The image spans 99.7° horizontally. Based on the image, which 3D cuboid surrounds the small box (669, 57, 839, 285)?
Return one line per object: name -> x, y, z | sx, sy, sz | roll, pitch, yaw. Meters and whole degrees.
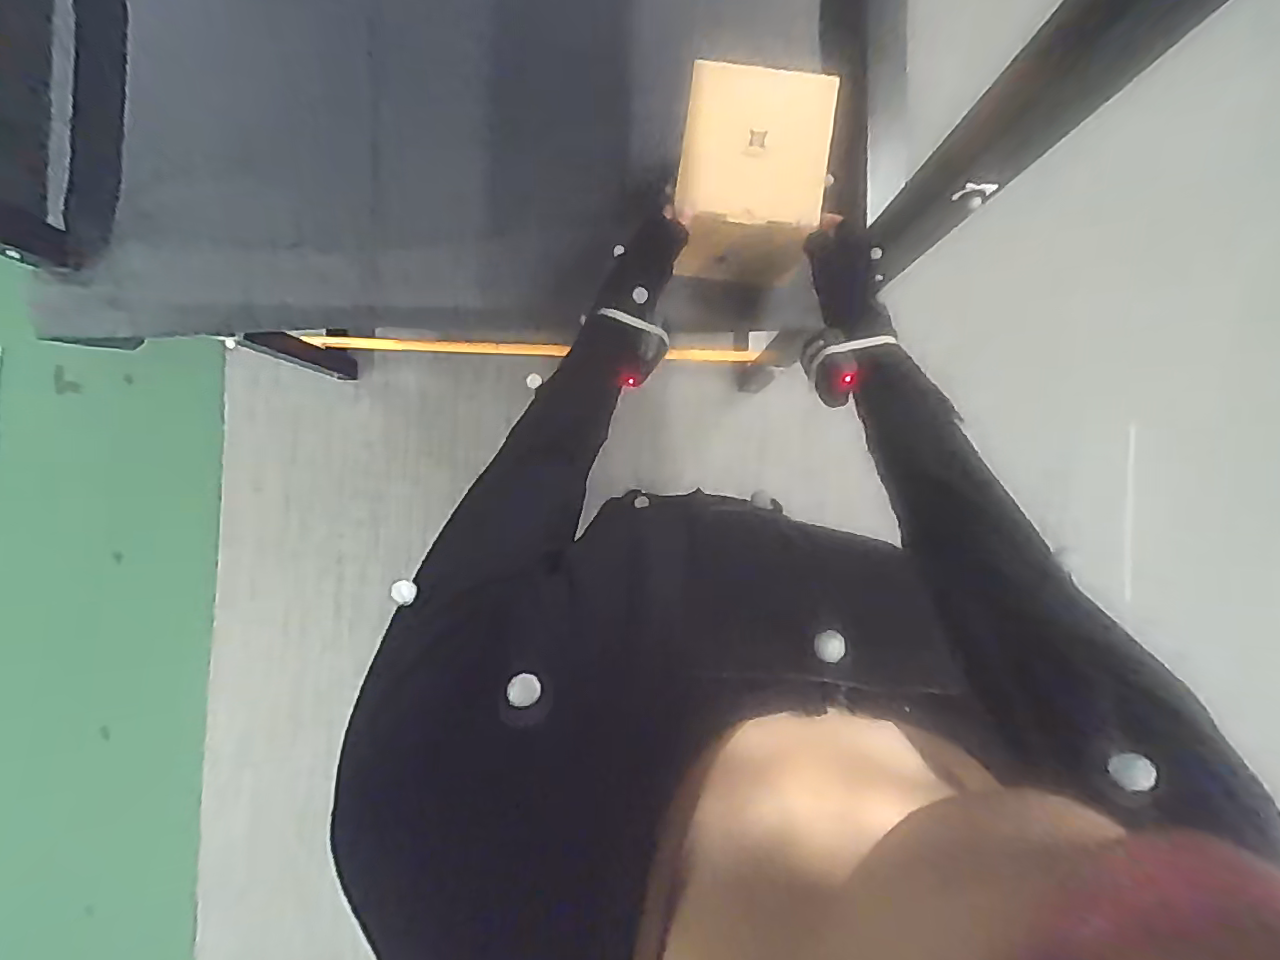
small box -> 0.130, -0.371, 0.677 | 0.168, 0.176, 0.179 | 8, 89, 2
